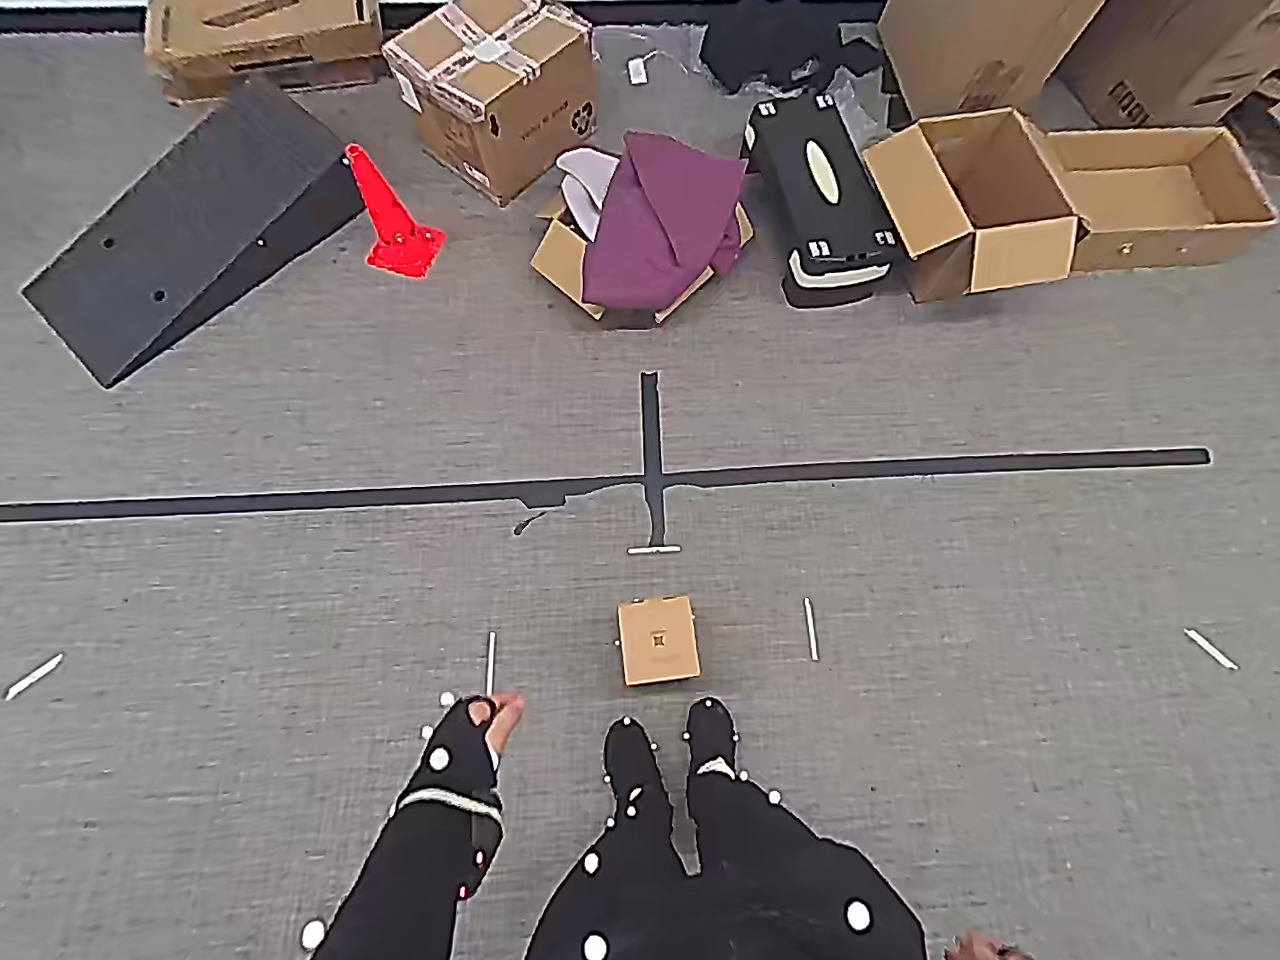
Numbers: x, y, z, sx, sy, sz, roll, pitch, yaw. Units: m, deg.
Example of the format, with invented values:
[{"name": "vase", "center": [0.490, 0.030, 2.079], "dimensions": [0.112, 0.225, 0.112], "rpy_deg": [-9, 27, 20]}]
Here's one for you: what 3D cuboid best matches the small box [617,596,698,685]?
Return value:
[{"name": "small box", "center": [0.035, 0.378, 1.265], "dimensions": [0.168, 0.176, 0.179], "rpy_deg": [-7, 72, -3]}]
